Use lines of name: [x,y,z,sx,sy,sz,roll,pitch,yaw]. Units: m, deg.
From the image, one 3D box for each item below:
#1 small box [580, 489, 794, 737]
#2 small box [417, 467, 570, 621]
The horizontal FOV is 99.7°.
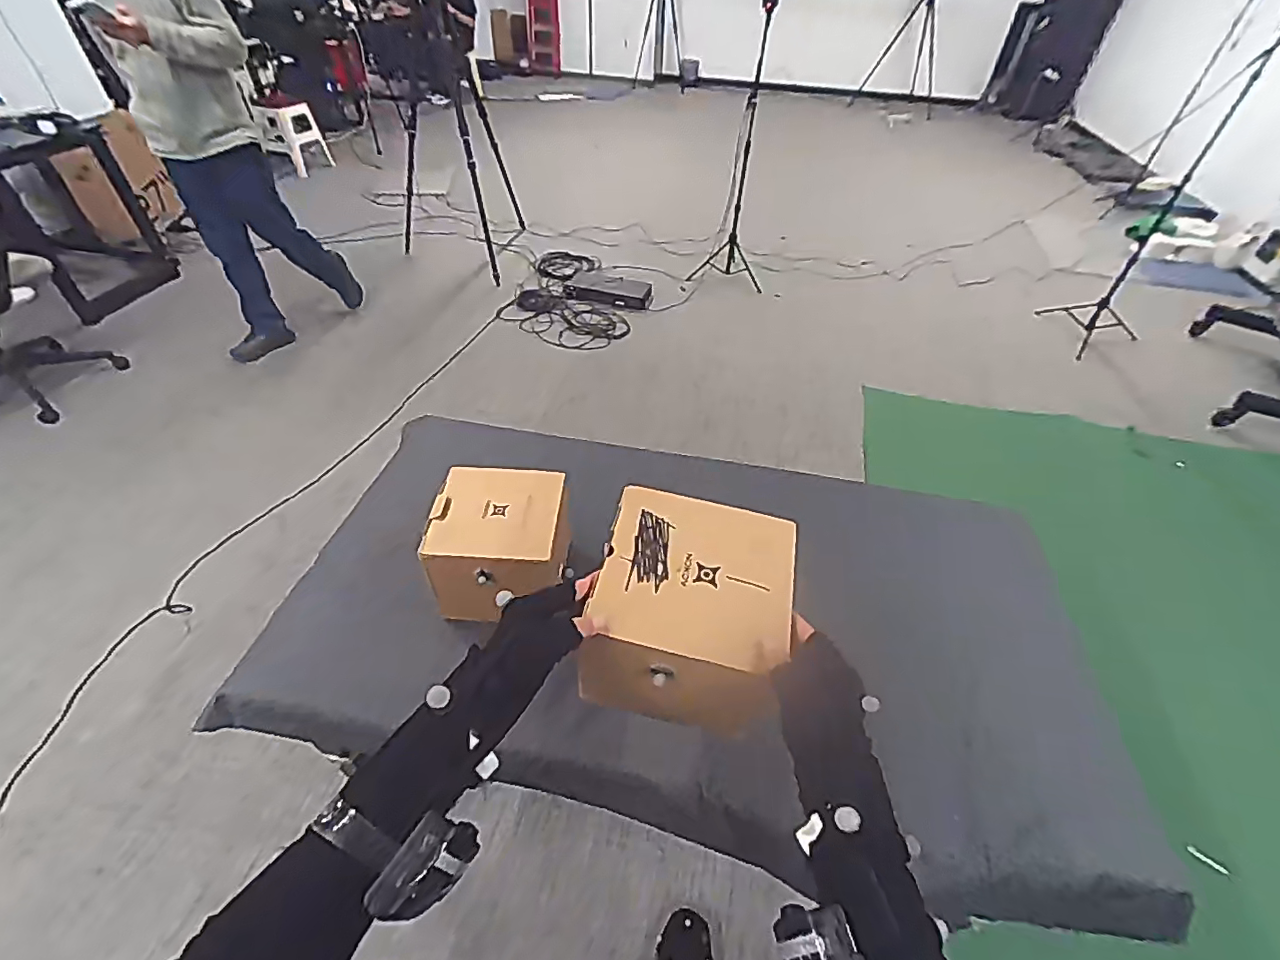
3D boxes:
small box: [0.044,0.139,0.550,0.179,0.176,0.168,13,49,4]
small box: [-0.206,0.099,0.818,0.179,0.176,0.168,4,47,0]
